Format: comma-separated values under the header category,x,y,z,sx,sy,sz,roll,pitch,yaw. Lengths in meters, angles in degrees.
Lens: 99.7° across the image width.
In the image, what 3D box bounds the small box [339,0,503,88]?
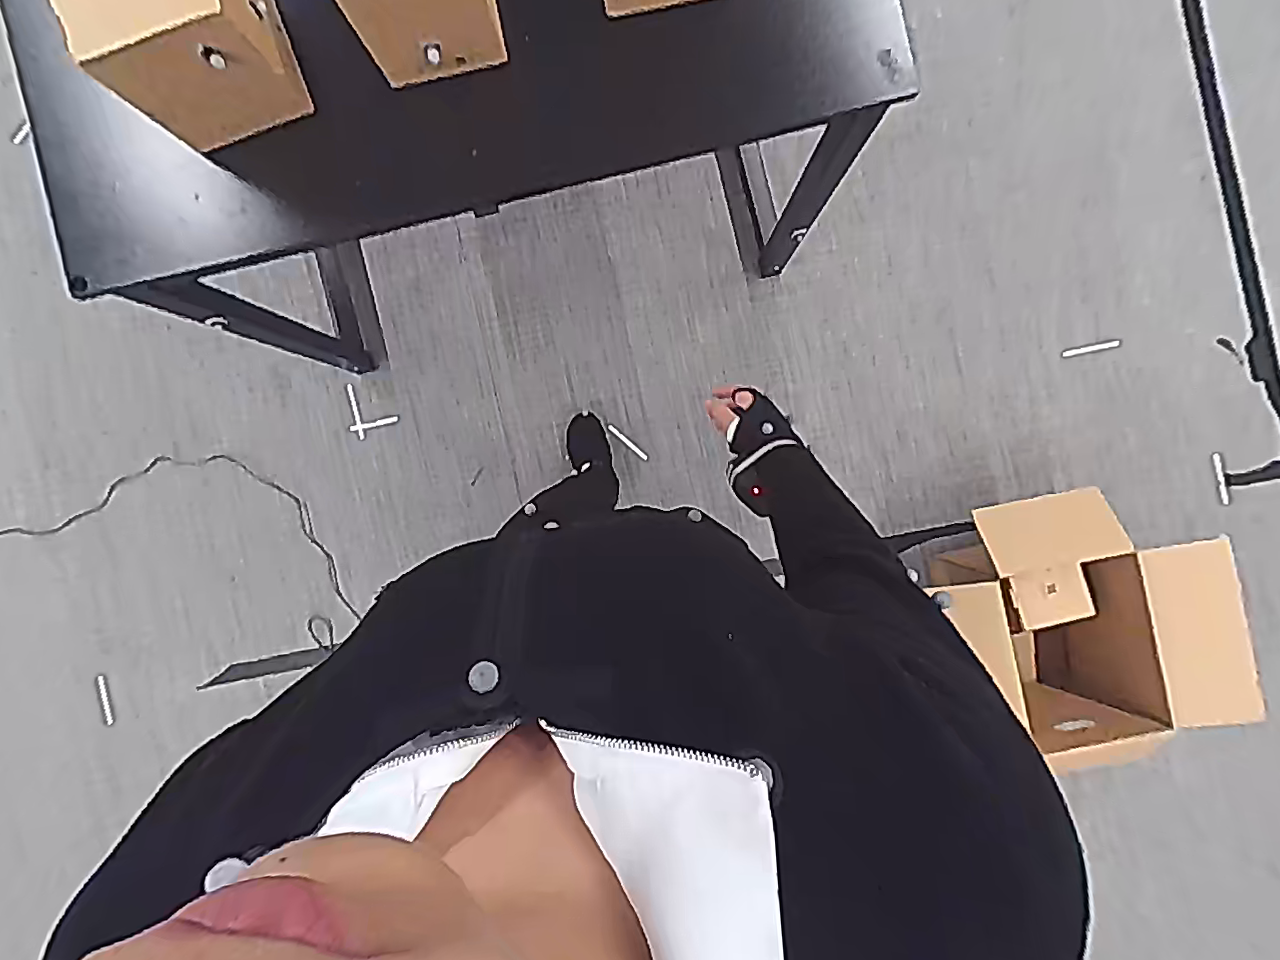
category,x,y,z,sx,sy,sz,roll,pitch,yaw
small box,-0.283,-0.639,0.666,0.168,0.176,0.179,-12,92,1

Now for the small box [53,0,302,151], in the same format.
category,x,y,z,sx,sy,sz,roll,pitch,yaw
small box,-0.560,-0.556,0.670,0.179,0.176,0.168,-20,91,1

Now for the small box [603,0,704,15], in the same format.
category,x,y,z,sx,sy,sz,roll,pitch,yaw
small box,0.020,-0.723,0.660,0.179,0.176,0.168,-10,91,2
